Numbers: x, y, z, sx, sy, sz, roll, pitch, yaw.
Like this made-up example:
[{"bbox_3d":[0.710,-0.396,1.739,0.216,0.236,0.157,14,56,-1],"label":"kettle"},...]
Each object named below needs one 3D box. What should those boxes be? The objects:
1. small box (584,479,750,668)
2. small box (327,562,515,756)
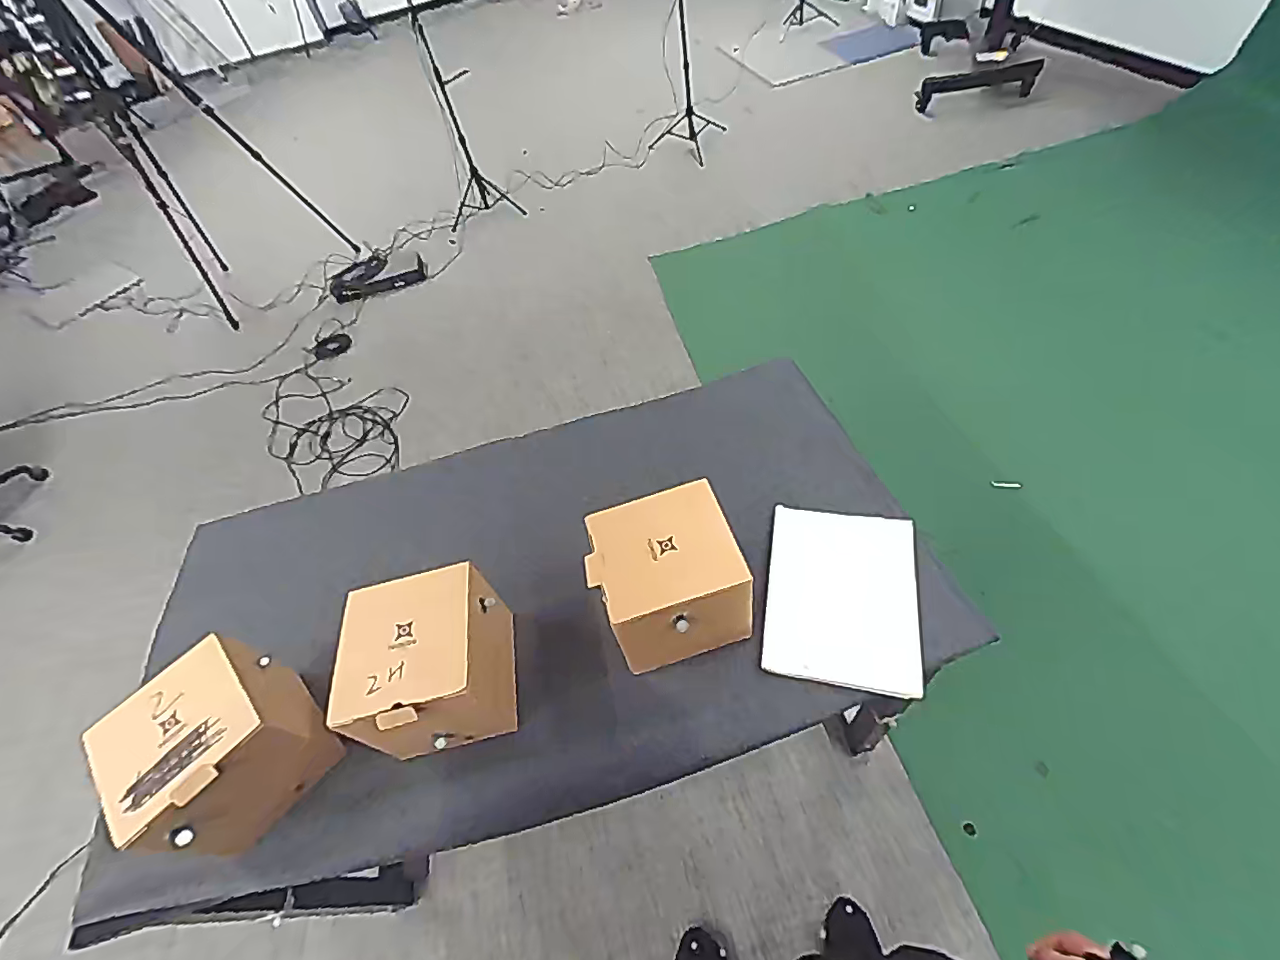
[{"bbox_3d":[0.039,0.132,0.737,0.179,0.176,0.168,-18,50,-1],"label":"small box"},{"bbox_3d":[-0.273,0.239,0.718,0.168,0.176,0.179,-15,51,1],"label":"small box"}]
